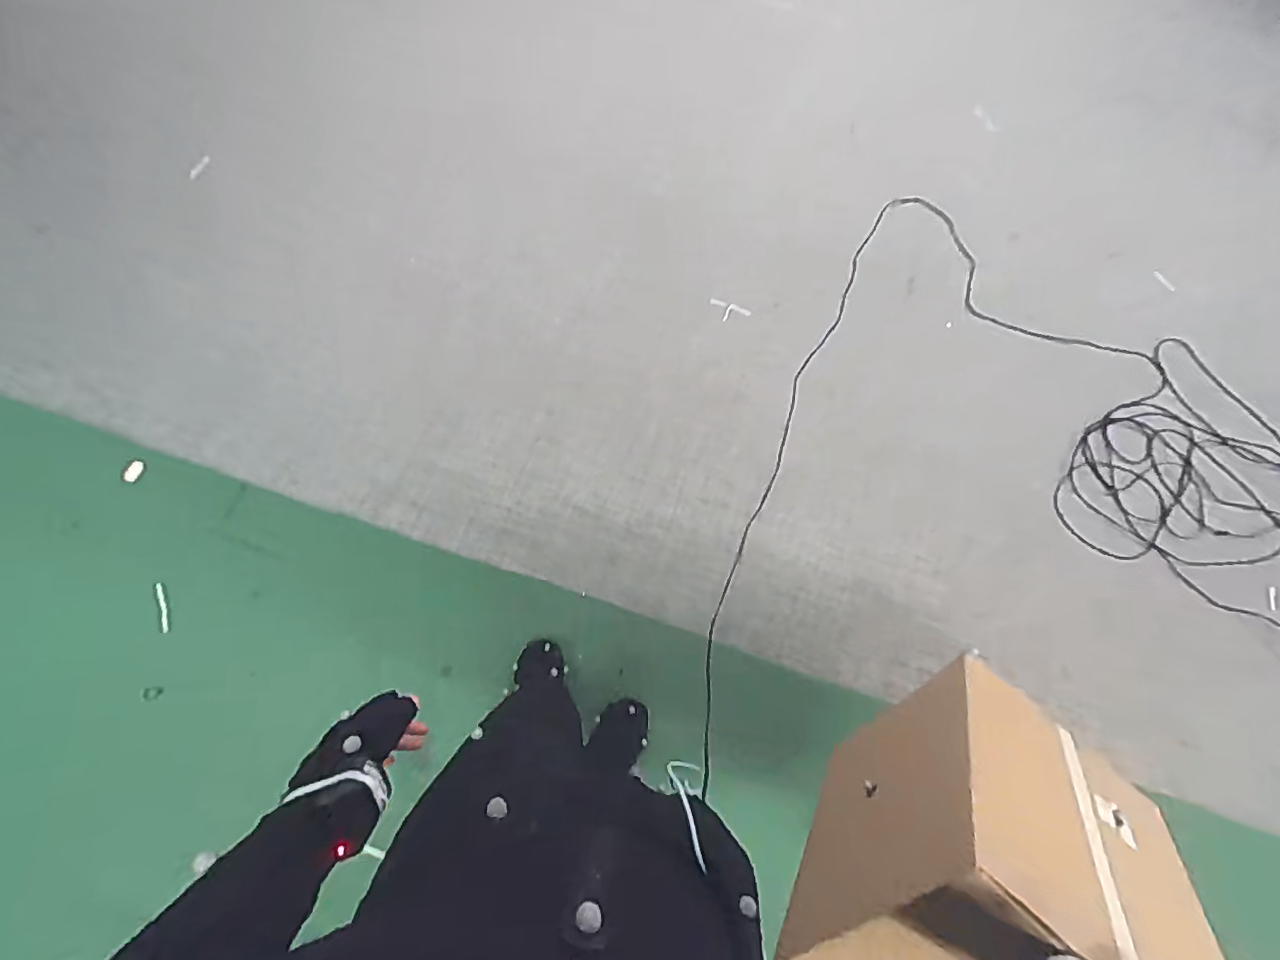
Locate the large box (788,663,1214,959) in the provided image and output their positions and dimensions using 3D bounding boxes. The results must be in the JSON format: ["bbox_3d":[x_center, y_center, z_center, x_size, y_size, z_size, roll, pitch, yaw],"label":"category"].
[{"bbox_3d":[0.438,0.530,0.694,0.320,0.320,0.408,42,28,14],"label":"large box"}]
